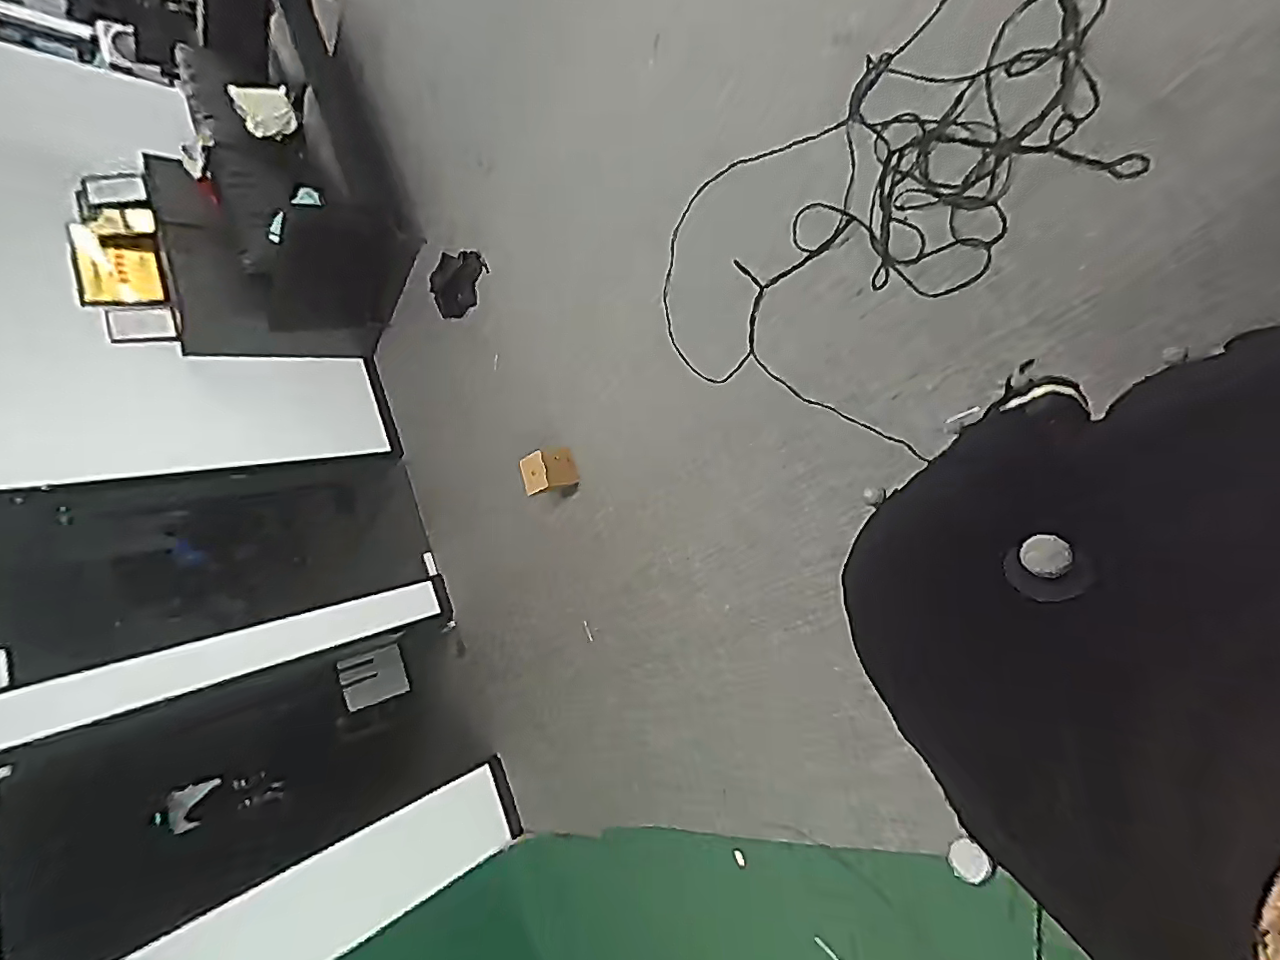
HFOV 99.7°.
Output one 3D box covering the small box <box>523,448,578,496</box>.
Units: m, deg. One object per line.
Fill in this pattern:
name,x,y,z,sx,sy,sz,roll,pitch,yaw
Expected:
small box,-0.386,-0.038,2.378,0.179,0.176,0.168,-22,79,48
